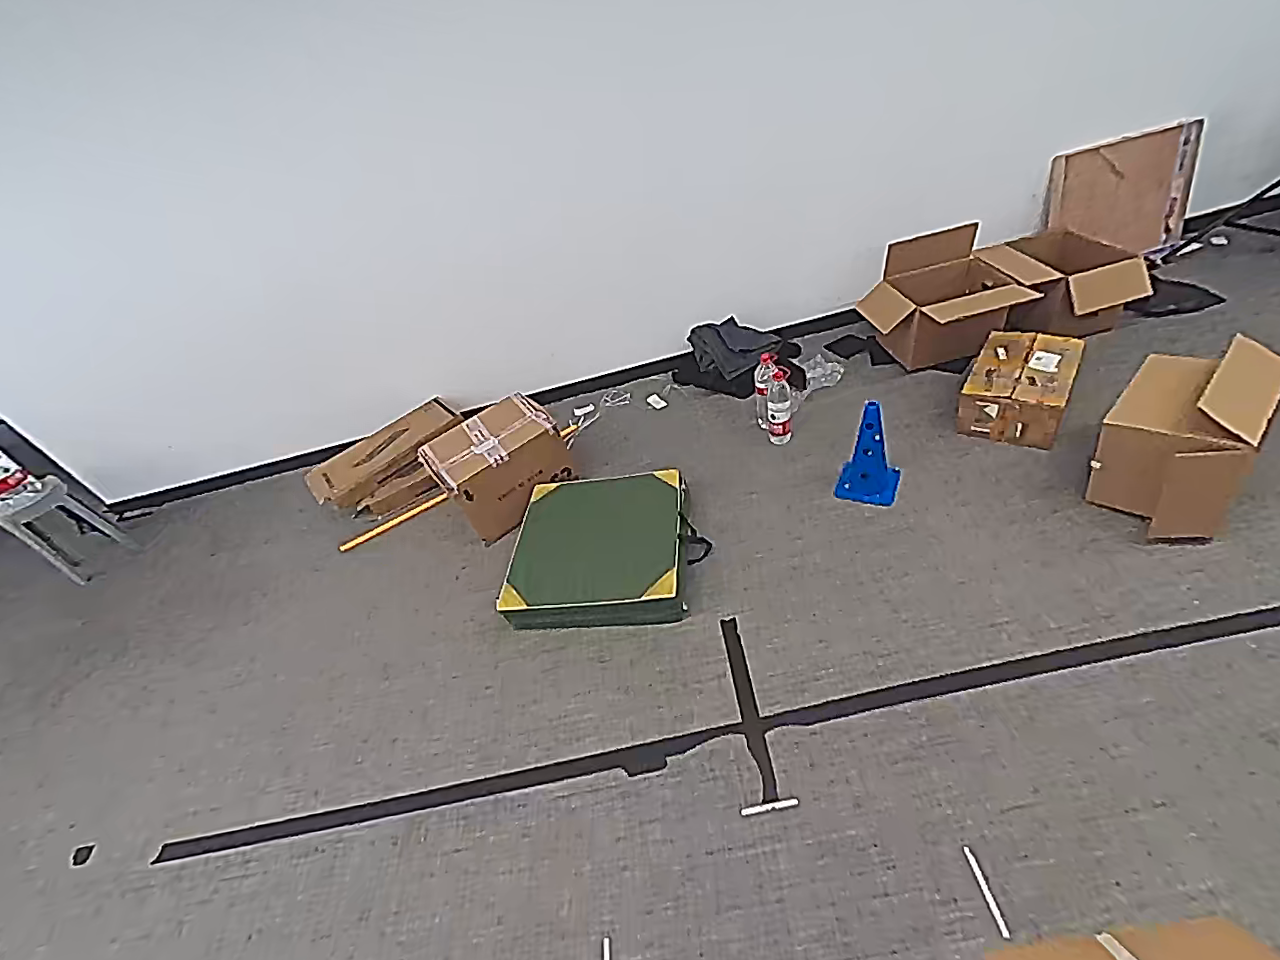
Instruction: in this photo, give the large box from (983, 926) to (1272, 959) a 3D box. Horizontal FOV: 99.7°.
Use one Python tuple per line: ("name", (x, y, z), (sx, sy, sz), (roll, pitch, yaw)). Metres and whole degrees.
("large box", (0.609, 0.726, 0.494), (0.320, 0.408, 0.320), (-15, 81, 6))
